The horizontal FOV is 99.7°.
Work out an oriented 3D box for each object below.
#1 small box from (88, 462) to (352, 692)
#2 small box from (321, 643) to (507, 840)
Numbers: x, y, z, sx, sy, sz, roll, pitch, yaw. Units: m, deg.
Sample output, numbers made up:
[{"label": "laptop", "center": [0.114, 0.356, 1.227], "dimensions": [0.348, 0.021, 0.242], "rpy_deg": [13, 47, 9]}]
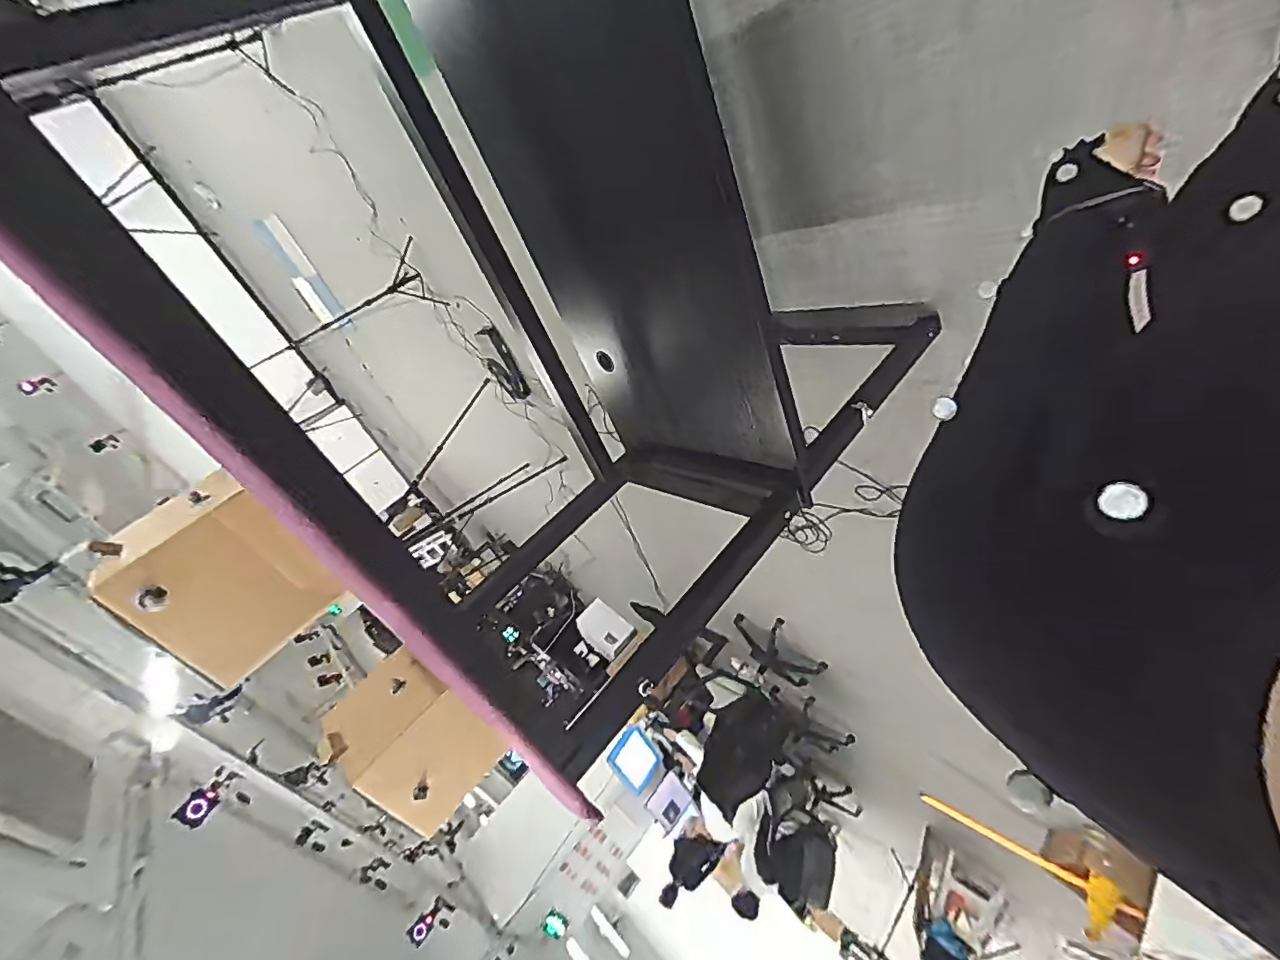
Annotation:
[{"label": "small box", "center": [-0.483, 0.106, 0.647], "dimensions": [0.168, 0.176, 0.179], "rpy_deg": [18, 142, 49]}, {"label": "small box", "center": [-0.335, 0.387, 0.823], "dimensions": [0.168, 0.176, 0.179], "rpy_deg": [14, 139, 47]}]
